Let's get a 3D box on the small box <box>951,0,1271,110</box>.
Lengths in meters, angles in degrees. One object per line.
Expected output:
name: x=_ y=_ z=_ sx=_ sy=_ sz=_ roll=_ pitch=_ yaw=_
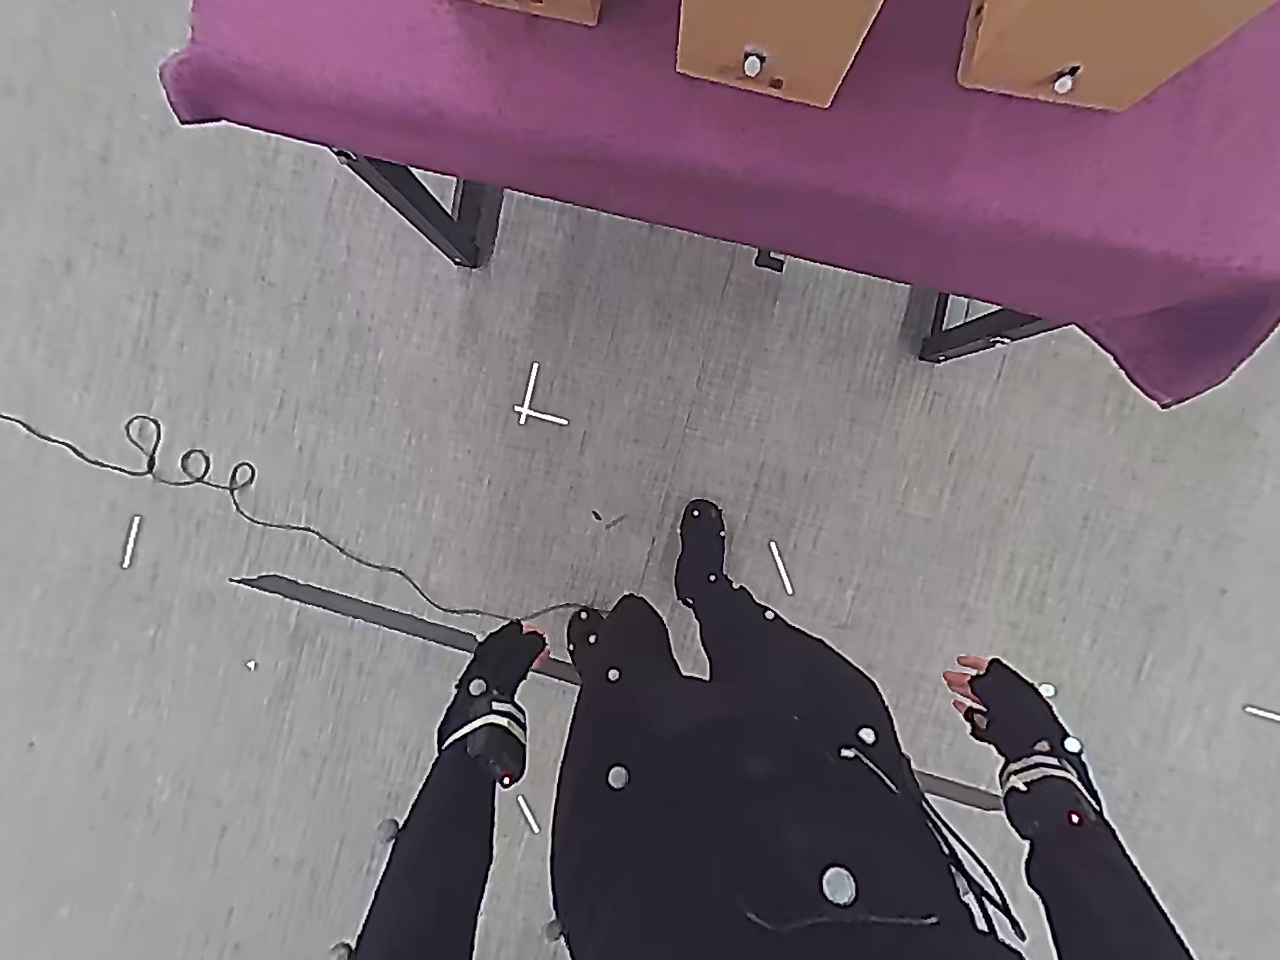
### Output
small box: x=0.423 y=-0.472 z=0.484 sx=0.179 sy=0.176 sz=0.168 roll=10 pitch=93 yaw=1

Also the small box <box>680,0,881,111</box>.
small box: x=0.135 y=-0.487 z=0.489 sx=0.168 sy=0.176 sz=0.179 roll=14 pitch=94 yaw=1

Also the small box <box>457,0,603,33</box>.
small box: x=-0.111 y=-0.569 z=0.491 sx=0.168 sy=0.176 sz=0.179 roll=11 pitch=94 yaw=2
